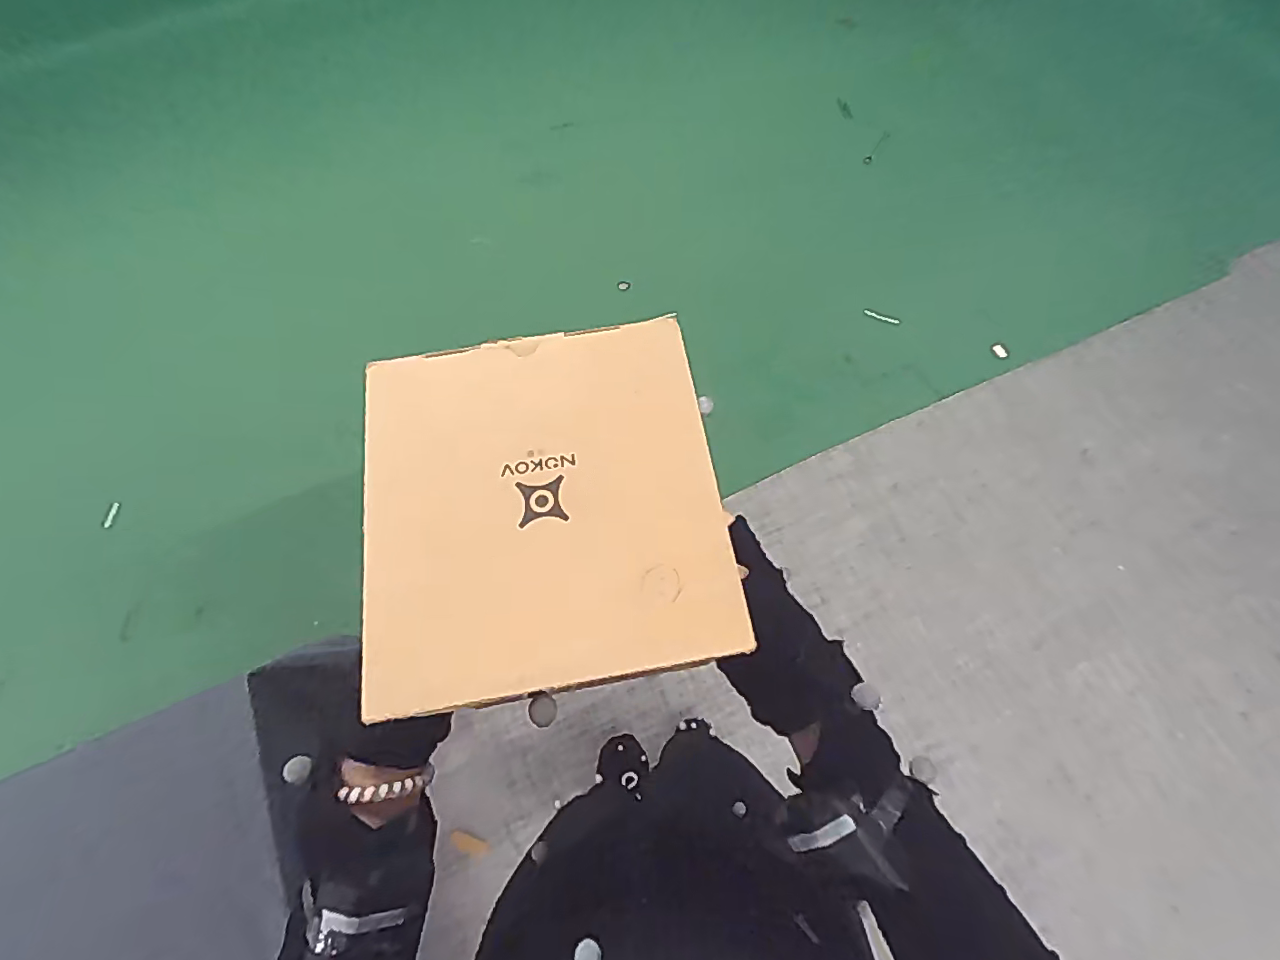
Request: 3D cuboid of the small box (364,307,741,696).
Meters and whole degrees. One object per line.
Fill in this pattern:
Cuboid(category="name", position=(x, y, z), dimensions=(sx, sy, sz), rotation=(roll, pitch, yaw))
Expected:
Cuboid(category="small box", position=(-0.046, 0.027, 0.333), dimensions=(0.168, 0.176, 0.179), rotation=(-9, 68, -3))
